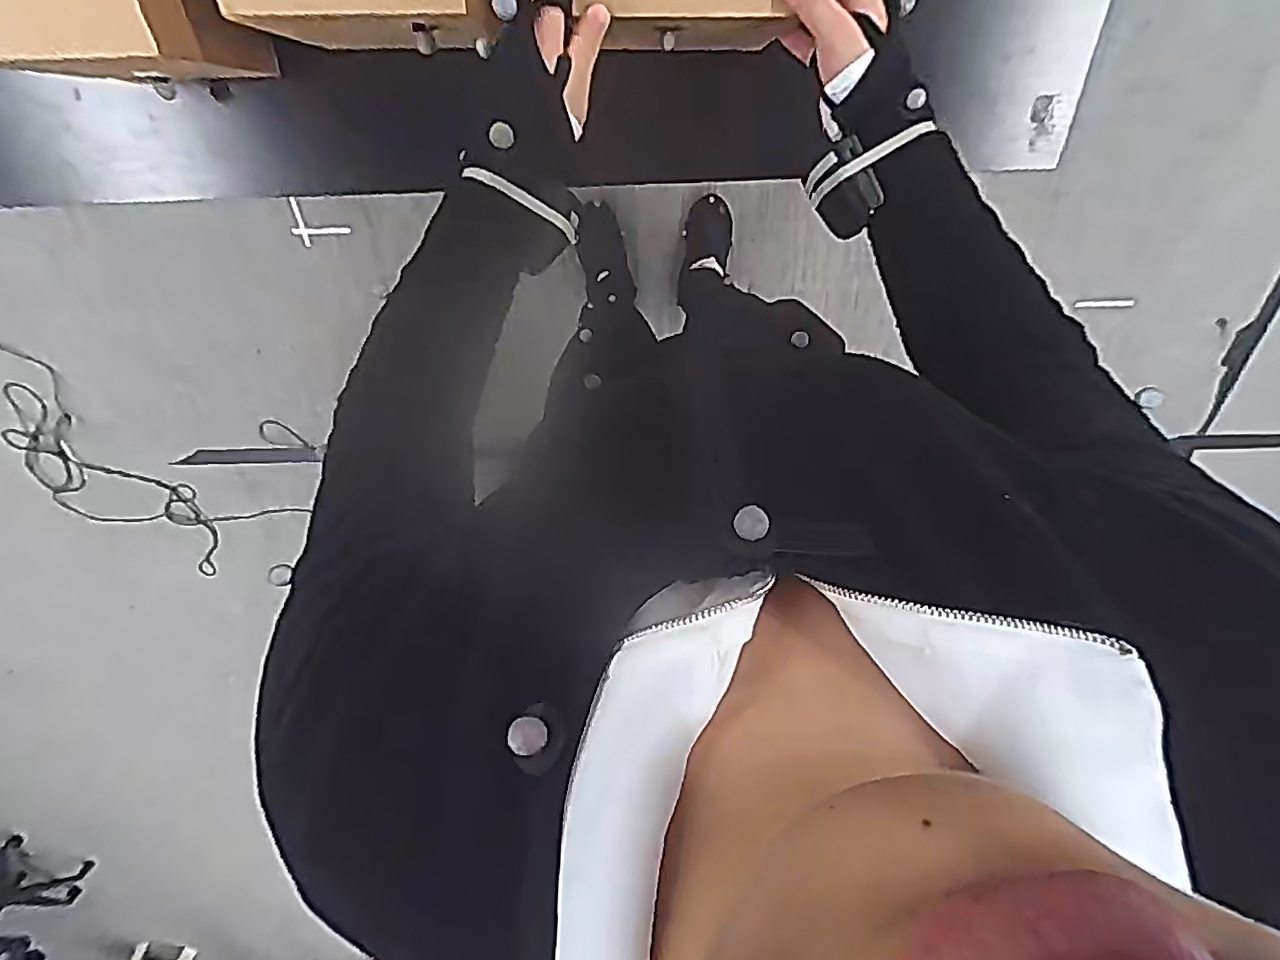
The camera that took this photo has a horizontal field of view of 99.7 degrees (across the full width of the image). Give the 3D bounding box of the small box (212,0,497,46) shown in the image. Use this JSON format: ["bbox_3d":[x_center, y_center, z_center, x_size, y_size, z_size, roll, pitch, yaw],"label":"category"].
[{"bbox_3d":[-0.210,-0.437,0.397,0.179,0.176,0.168,-2,123,-1],"label":"small box"}]

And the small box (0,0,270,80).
[{"bbox_3d":[-0.430,-0.417,0.404,0.168,0.176,0.179,-2,123,1],"label":"small box"}]
